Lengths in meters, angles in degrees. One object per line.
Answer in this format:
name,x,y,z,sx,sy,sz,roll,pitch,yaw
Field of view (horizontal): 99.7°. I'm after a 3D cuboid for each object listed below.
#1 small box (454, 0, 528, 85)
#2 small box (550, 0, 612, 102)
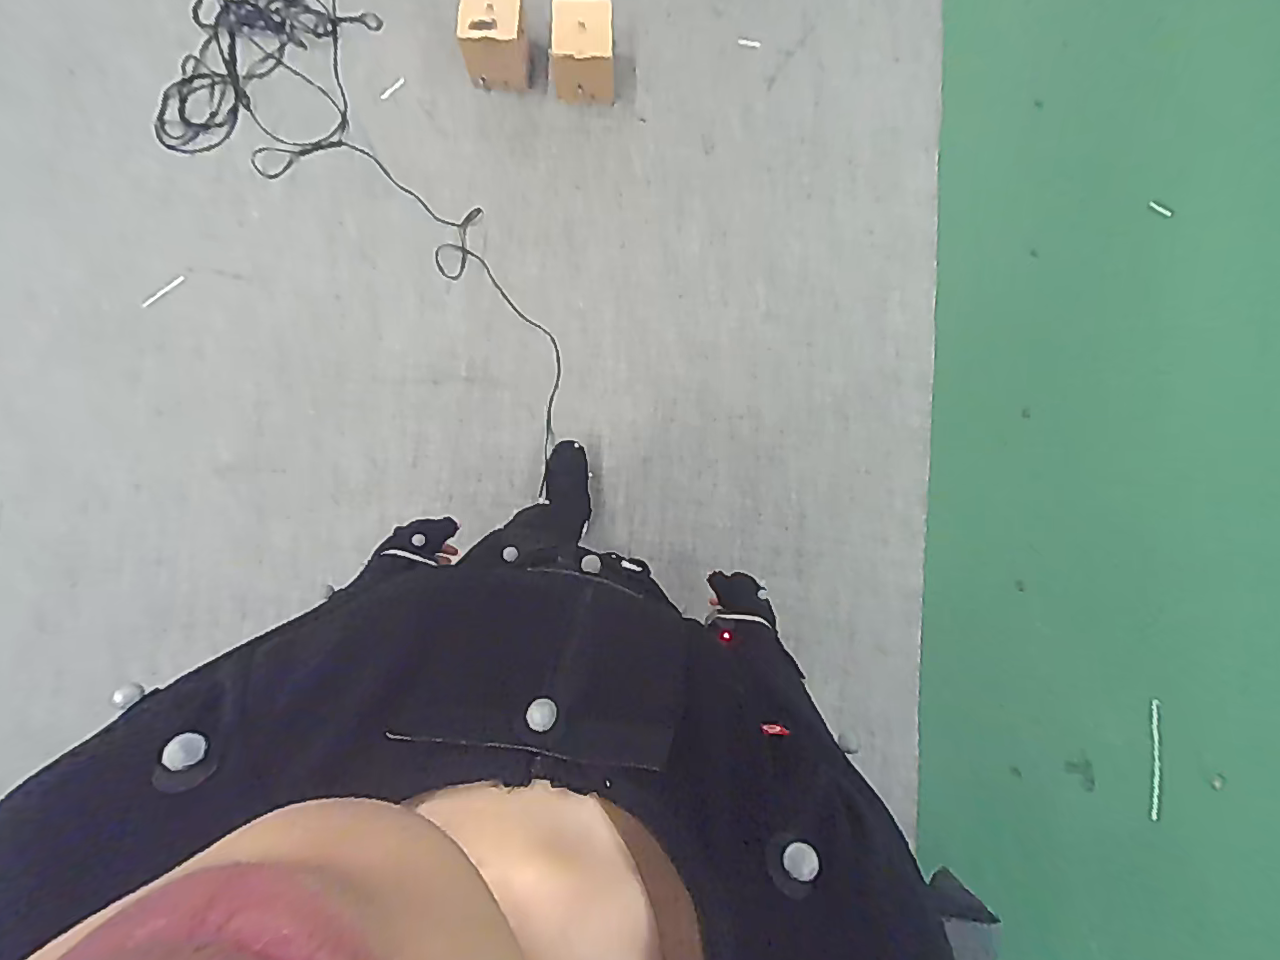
small box,-0.417,-1.271,1.542,0.168,0.176,0.179,2,83,-2
small box,-0.164,-1.231,1.548,0.168,0.176,0.179,-1,85,-2
